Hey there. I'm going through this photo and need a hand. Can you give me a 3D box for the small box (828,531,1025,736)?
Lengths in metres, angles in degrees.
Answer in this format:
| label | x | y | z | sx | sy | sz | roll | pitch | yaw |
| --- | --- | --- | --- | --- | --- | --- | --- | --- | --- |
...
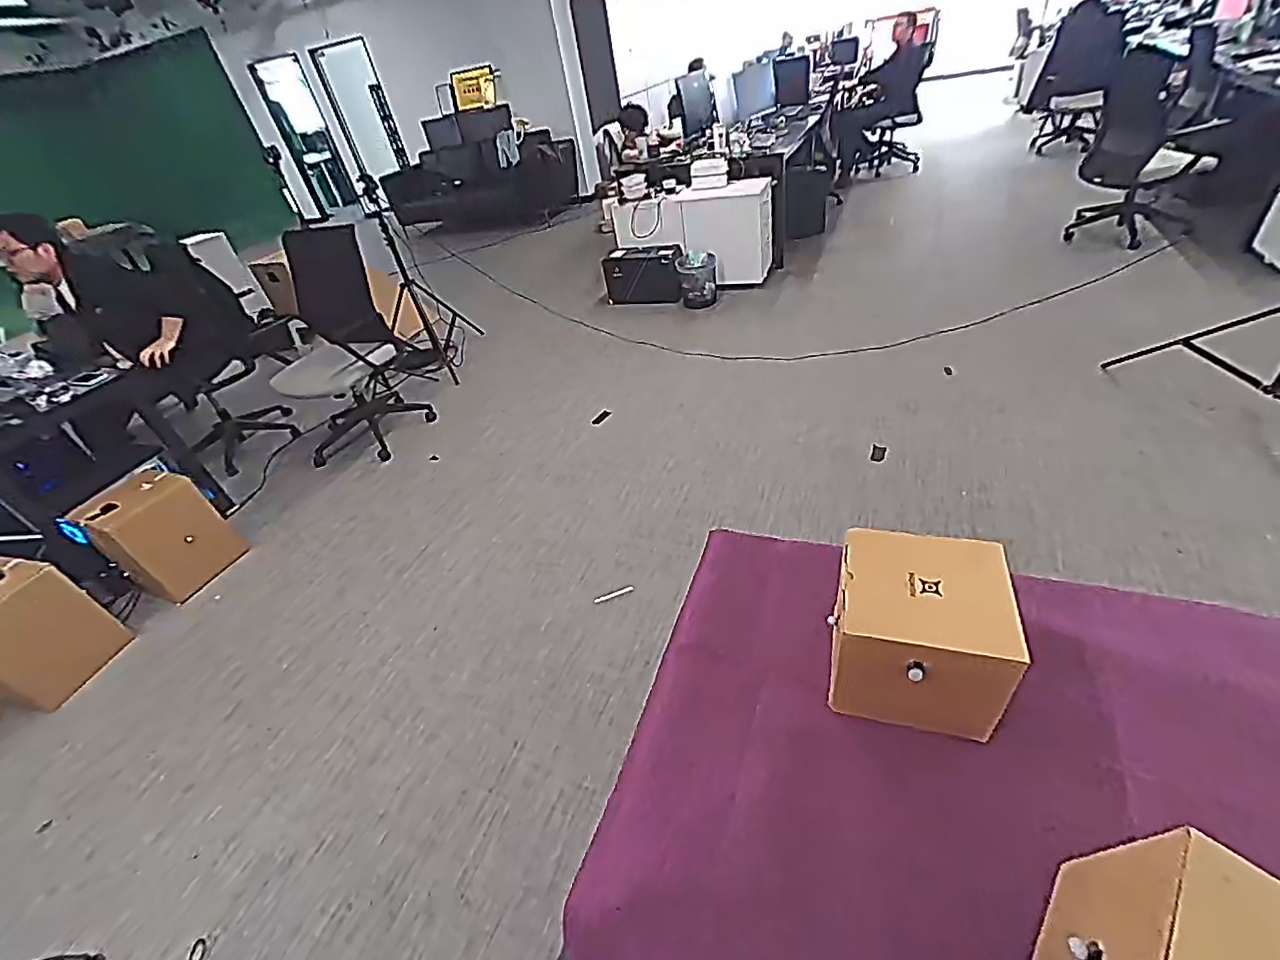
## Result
| label | x | y | z | sx | sy | sz | roll | pitch | yaw |
| --- | --- | --- | --- | --- | --- | --- | --- | --- | --- |
| small box | 0.334 | 0.187 | 0.664 | 0.179 | 0.176 | 0.168 | 5 | 41 | 19 |
